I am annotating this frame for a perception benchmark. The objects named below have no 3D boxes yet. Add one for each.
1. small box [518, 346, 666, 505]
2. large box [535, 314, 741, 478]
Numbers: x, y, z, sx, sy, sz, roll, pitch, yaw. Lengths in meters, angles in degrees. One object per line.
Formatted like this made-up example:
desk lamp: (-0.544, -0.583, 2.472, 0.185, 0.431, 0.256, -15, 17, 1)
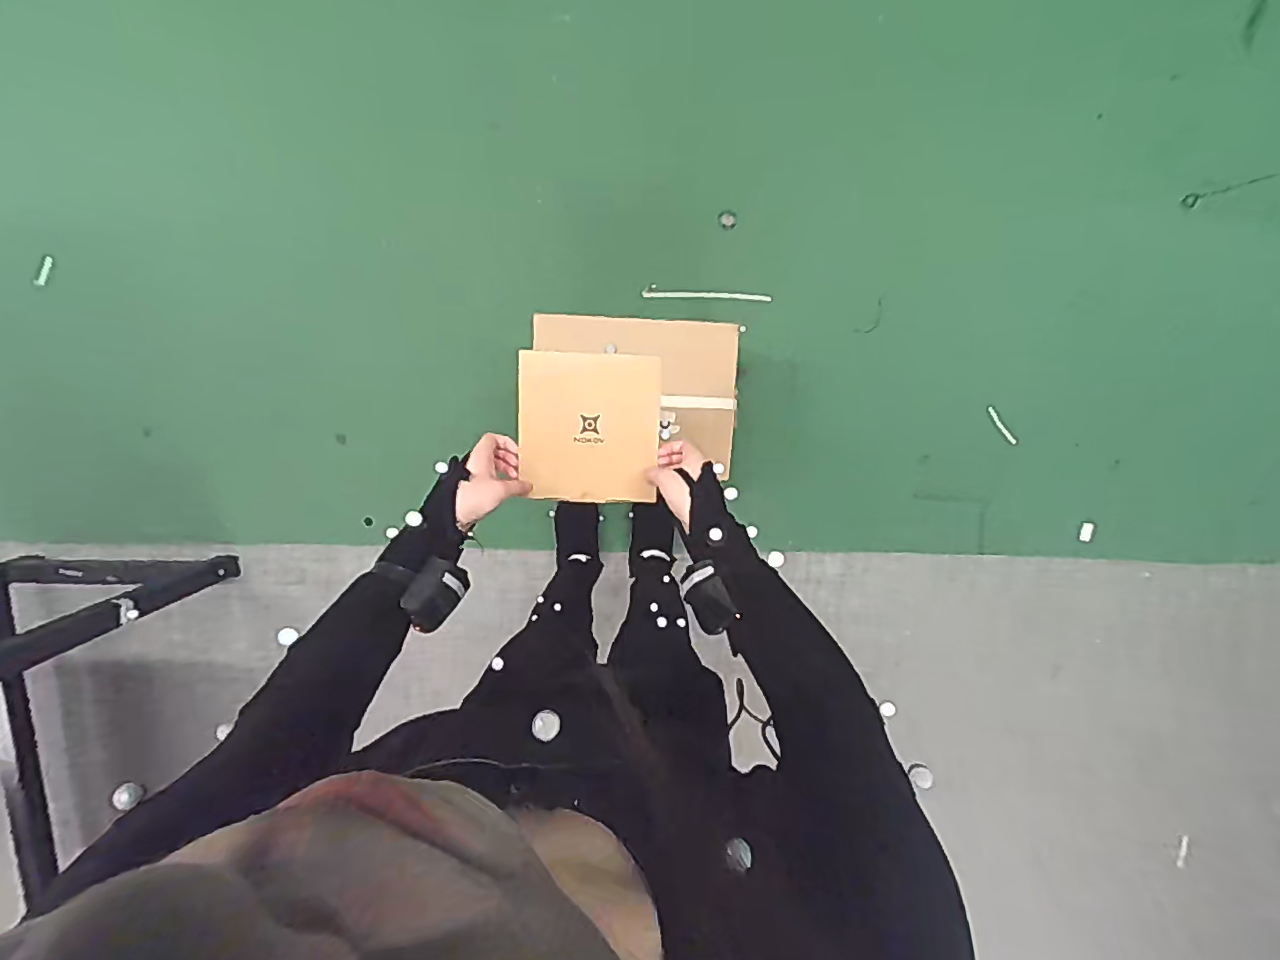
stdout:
small box: (-0.060, -0.073, 0.692, 0.168, 0.176, 0.179, 2, 101, -2)
large box: (-0.011, -0.182, 1.208, 0.408, 0.320, 0.320, 2, 99, -1)
